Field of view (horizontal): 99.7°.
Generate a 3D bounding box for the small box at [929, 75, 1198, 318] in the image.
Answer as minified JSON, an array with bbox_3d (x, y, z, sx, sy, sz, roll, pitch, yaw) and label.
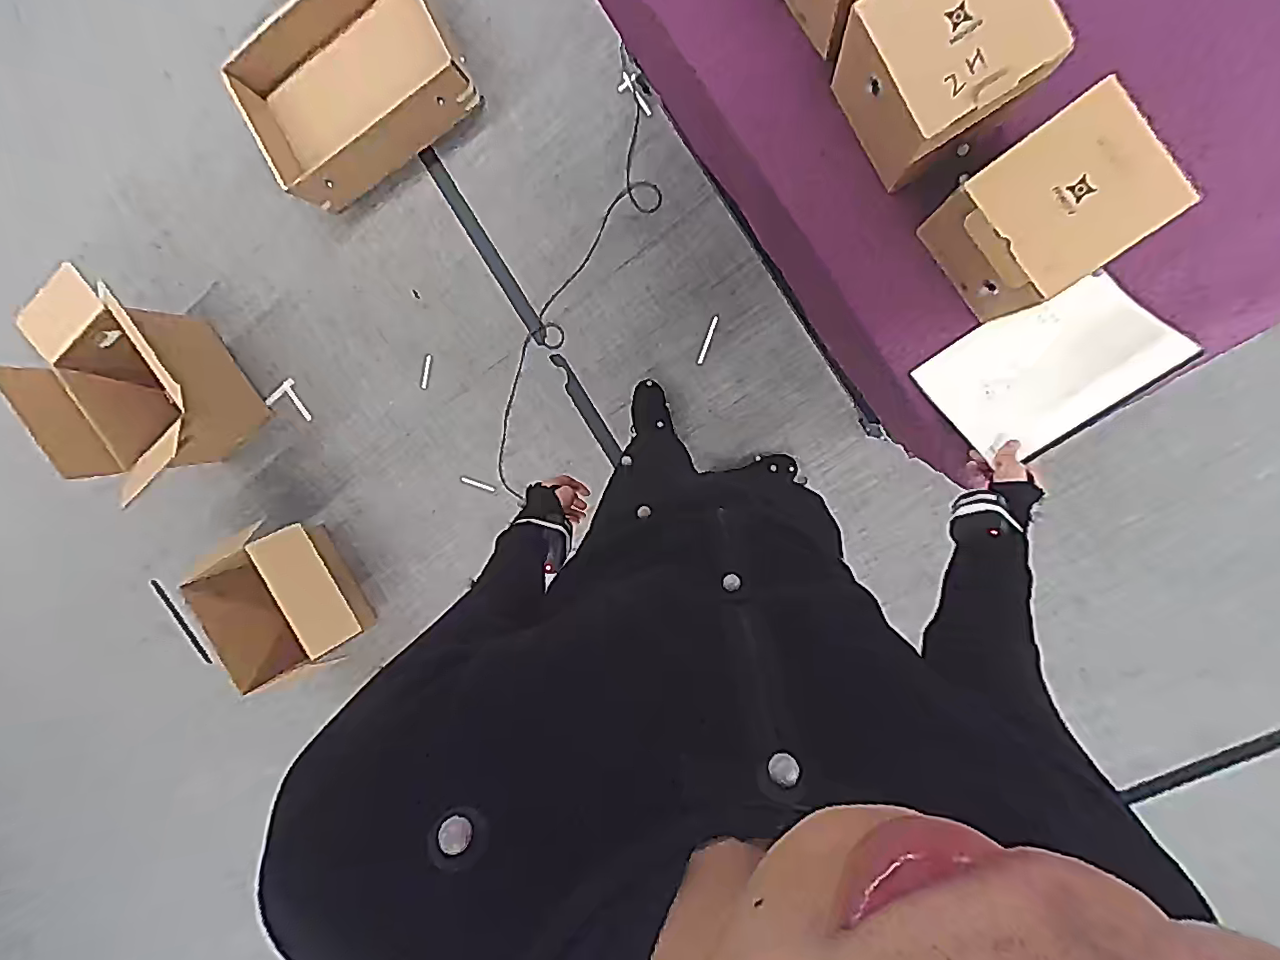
[{"bbox_3d":[0.486,-0.322,0.662,0.179,0.176,0.168,-35,91,13],"label":"small box"}]
